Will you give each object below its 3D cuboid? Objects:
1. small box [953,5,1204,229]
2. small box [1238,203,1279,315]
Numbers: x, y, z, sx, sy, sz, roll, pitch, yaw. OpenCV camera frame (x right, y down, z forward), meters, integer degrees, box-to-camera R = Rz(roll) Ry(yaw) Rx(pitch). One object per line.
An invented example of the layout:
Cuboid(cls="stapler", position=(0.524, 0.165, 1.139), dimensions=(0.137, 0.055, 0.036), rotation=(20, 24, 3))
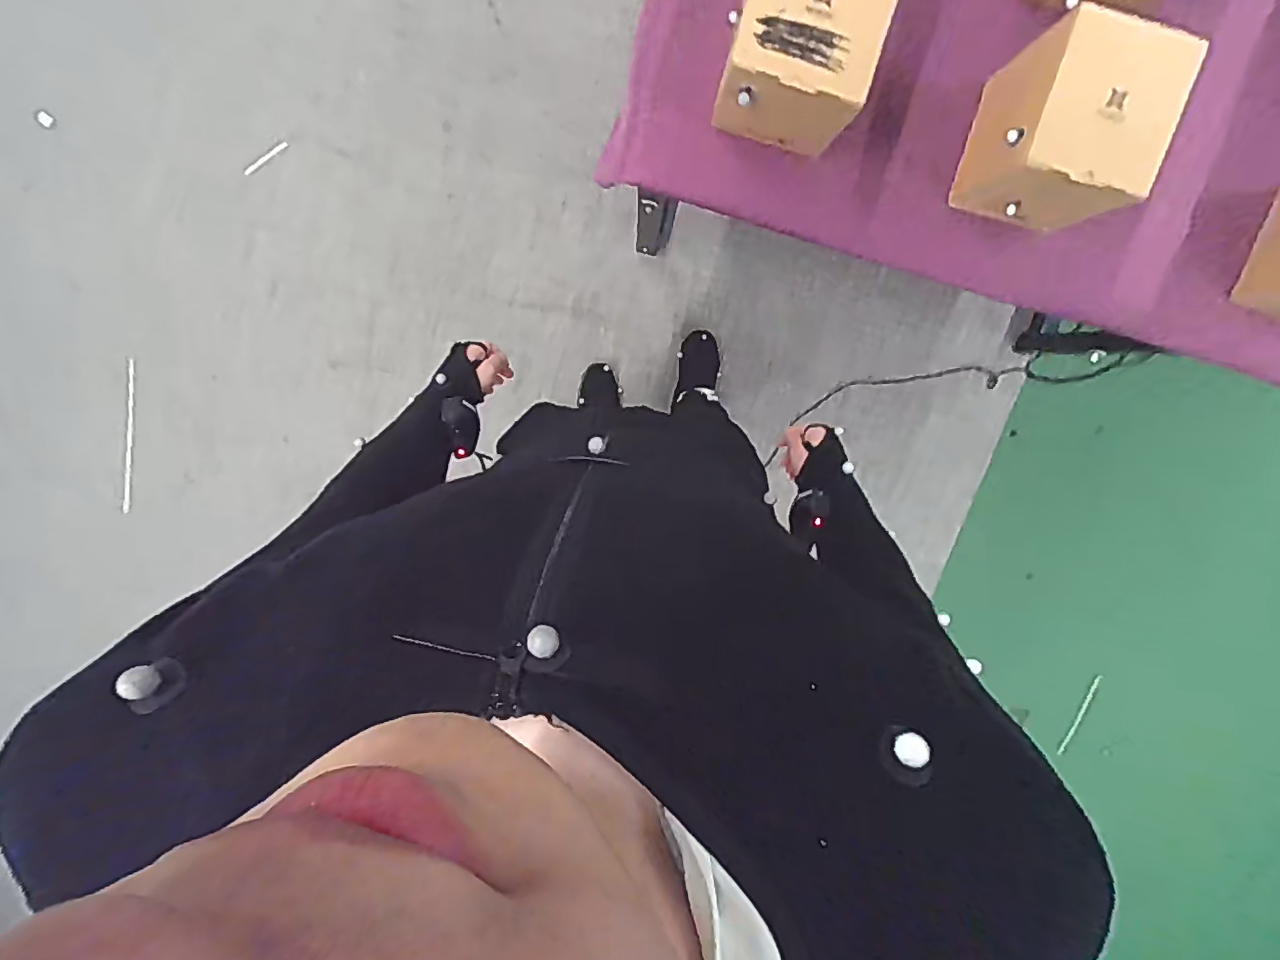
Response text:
Cuboid(cls="small box", position=(0.558, -0.461, 0.719), dimensions=(0.168, 0.176, 0.179), rotation=(13, 102, -4))
Cuboid(cls="small box", position=(1.016, -0.325, 0.748), dimensions=(0.168, 0.176, 0.179), rotation=(15, 101, -2))
